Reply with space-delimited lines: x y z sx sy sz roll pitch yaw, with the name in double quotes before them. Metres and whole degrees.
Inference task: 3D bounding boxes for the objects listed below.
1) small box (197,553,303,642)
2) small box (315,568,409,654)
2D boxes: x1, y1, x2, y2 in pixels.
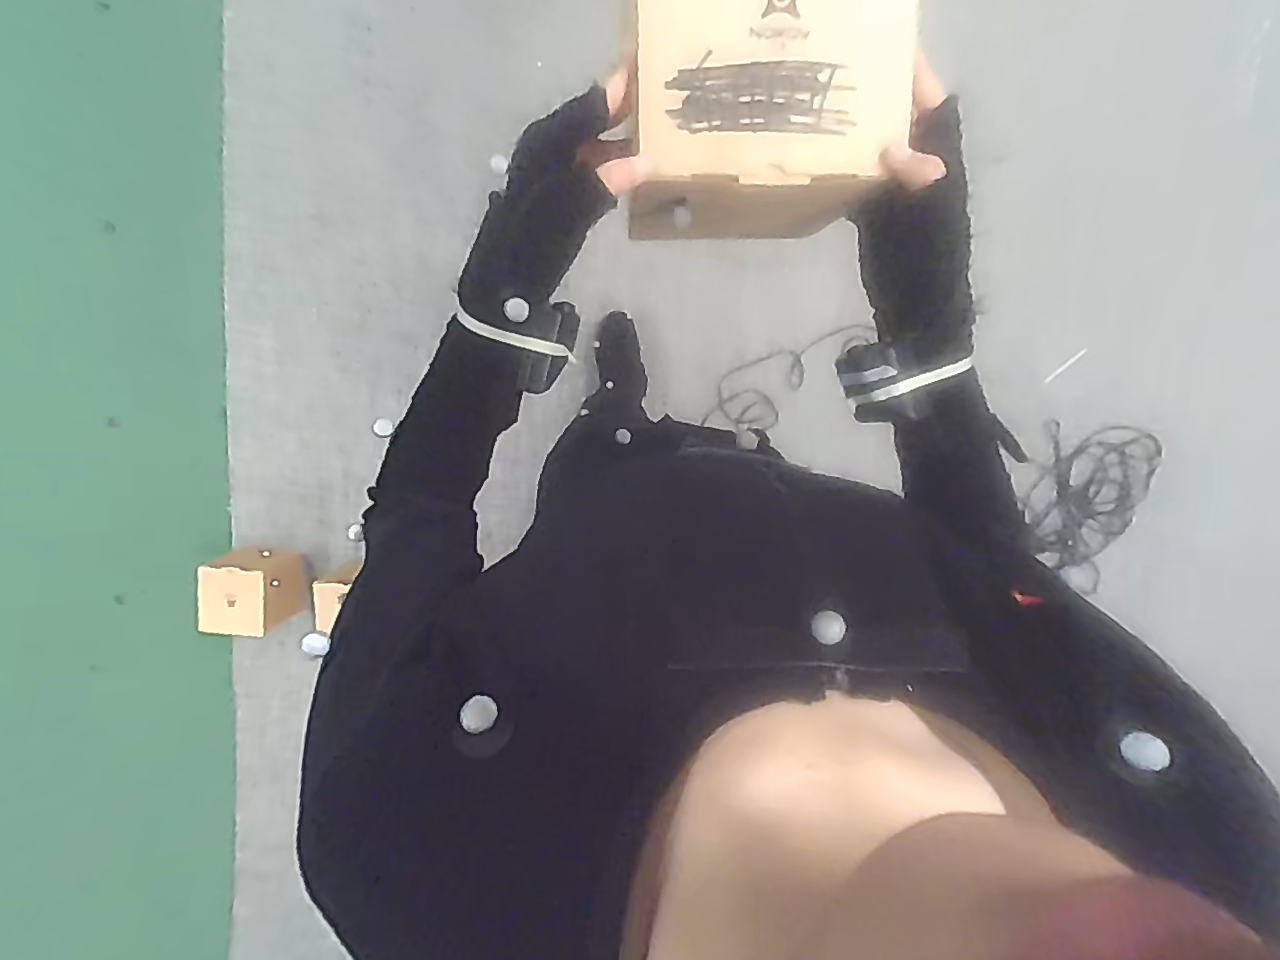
"small box" -1.014 0.303 1.418 0.168 0.176 0.179 5 97 -2
"small box" -0.723 0.338 1.422 0.168 0.176 0.179 2 98 0
